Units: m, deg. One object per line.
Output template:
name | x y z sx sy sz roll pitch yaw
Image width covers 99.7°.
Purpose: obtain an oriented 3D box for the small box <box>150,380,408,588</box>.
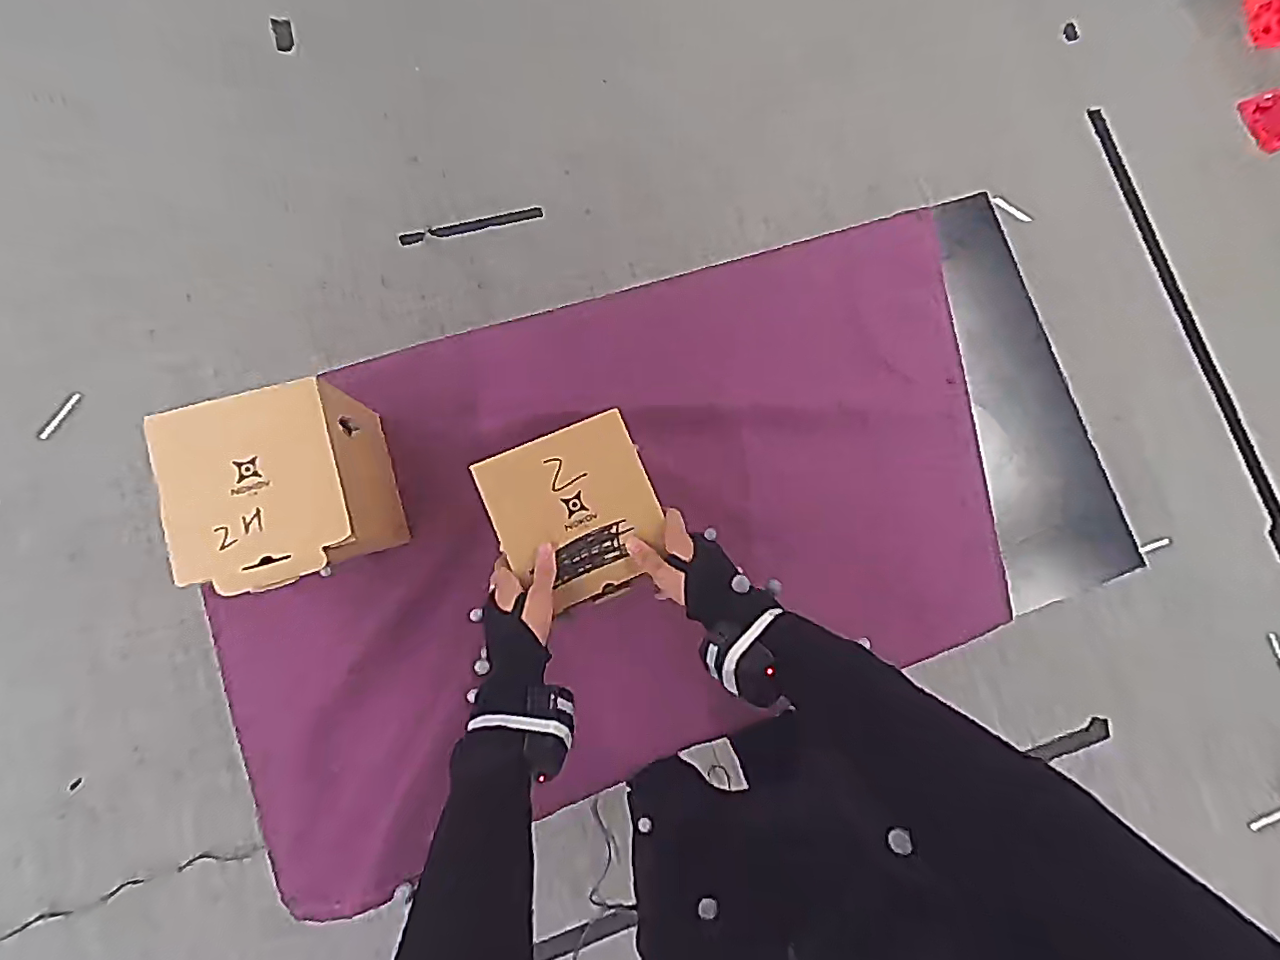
small box | -0.385 0.011 0.607 0.168 0.176 0.179 -16 85 -7
